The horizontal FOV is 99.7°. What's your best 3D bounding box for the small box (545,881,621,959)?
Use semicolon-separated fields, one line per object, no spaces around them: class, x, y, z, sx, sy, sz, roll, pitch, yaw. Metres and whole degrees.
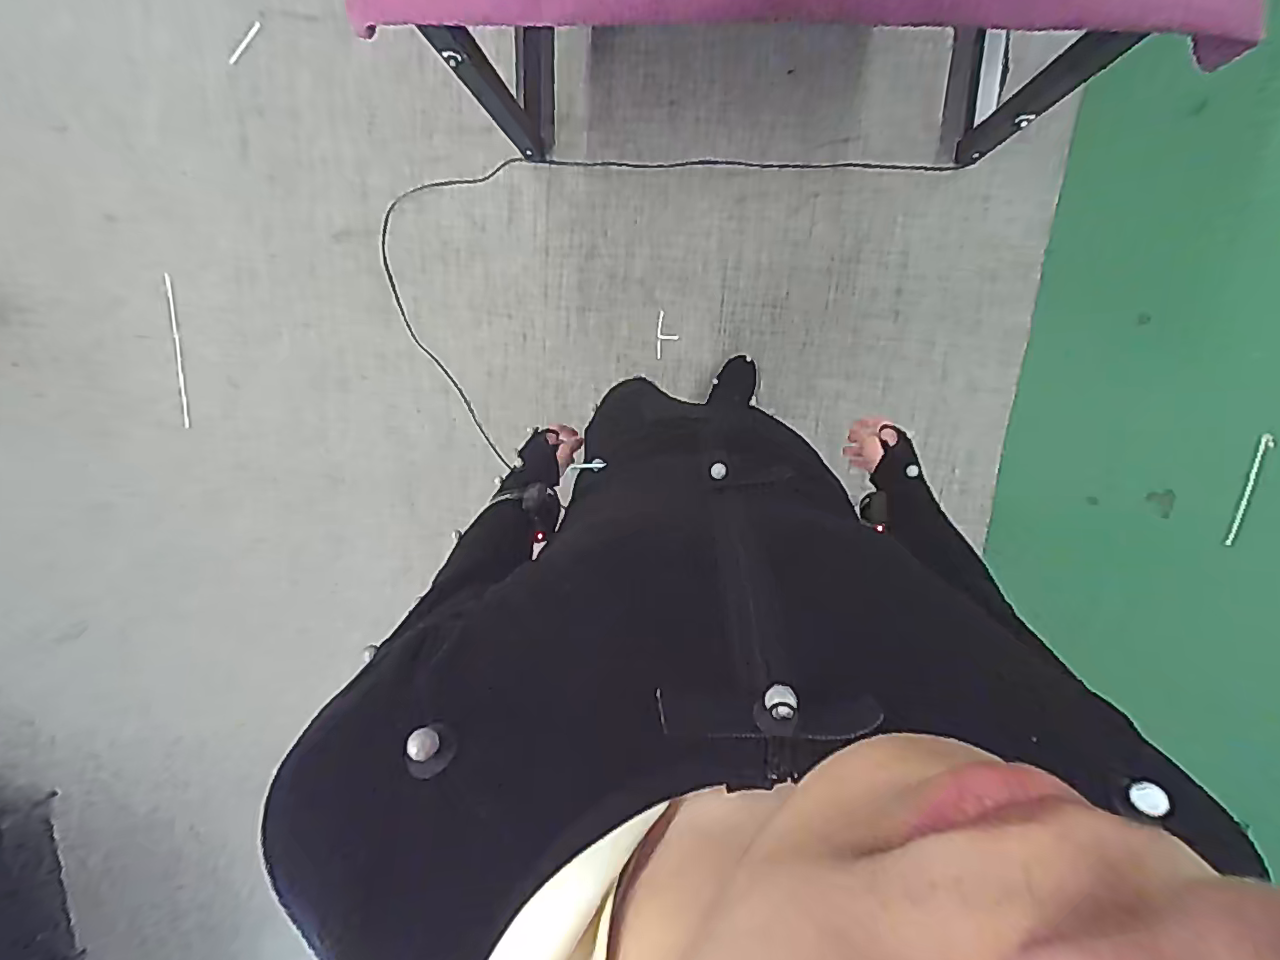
small box;-0.147;1.196;1.398;0.168;0.176;0.179;8;101;5
